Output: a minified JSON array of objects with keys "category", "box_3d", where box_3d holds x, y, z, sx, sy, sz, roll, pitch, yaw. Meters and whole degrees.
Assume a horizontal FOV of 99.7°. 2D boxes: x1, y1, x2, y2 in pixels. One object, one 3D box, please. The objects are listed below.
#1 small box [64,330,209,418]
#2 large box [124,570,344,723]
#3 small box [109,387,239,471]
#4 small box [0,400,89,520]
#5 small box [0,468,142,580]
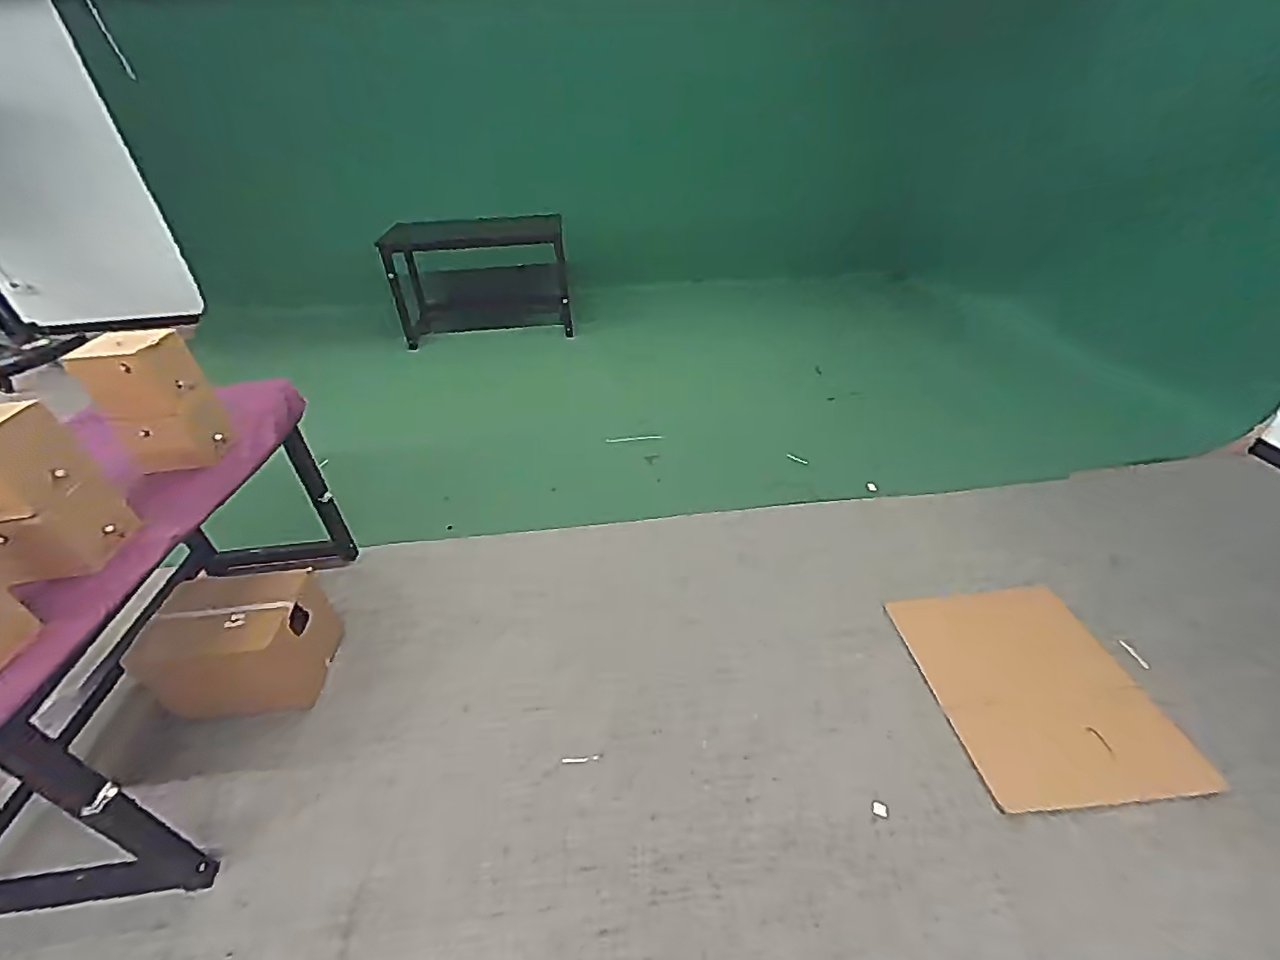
[{"category":"small box","box_3d":[-1.263,-0.267,1.374,0.179,0.176,0.168,-5,37,-4]},{"category":"large box","box_3d":[-1.230,0.519,1.696,0.408,0.320,0.320,-5,37,-4]},{"category":"small box","box_3d":[-1.252,-0.136,1.469,0.179,0.176,0.168,-5,37,-3]},{"category":"small box","box_3d":[-1.248,-0.035,1.052,0.168,0.176,0.179,-8,36,-4]},{"category":"small box","box_3d":[-1.242,0.096,1.150,0.179,0.176,0.168,-7,37,-4]}]
